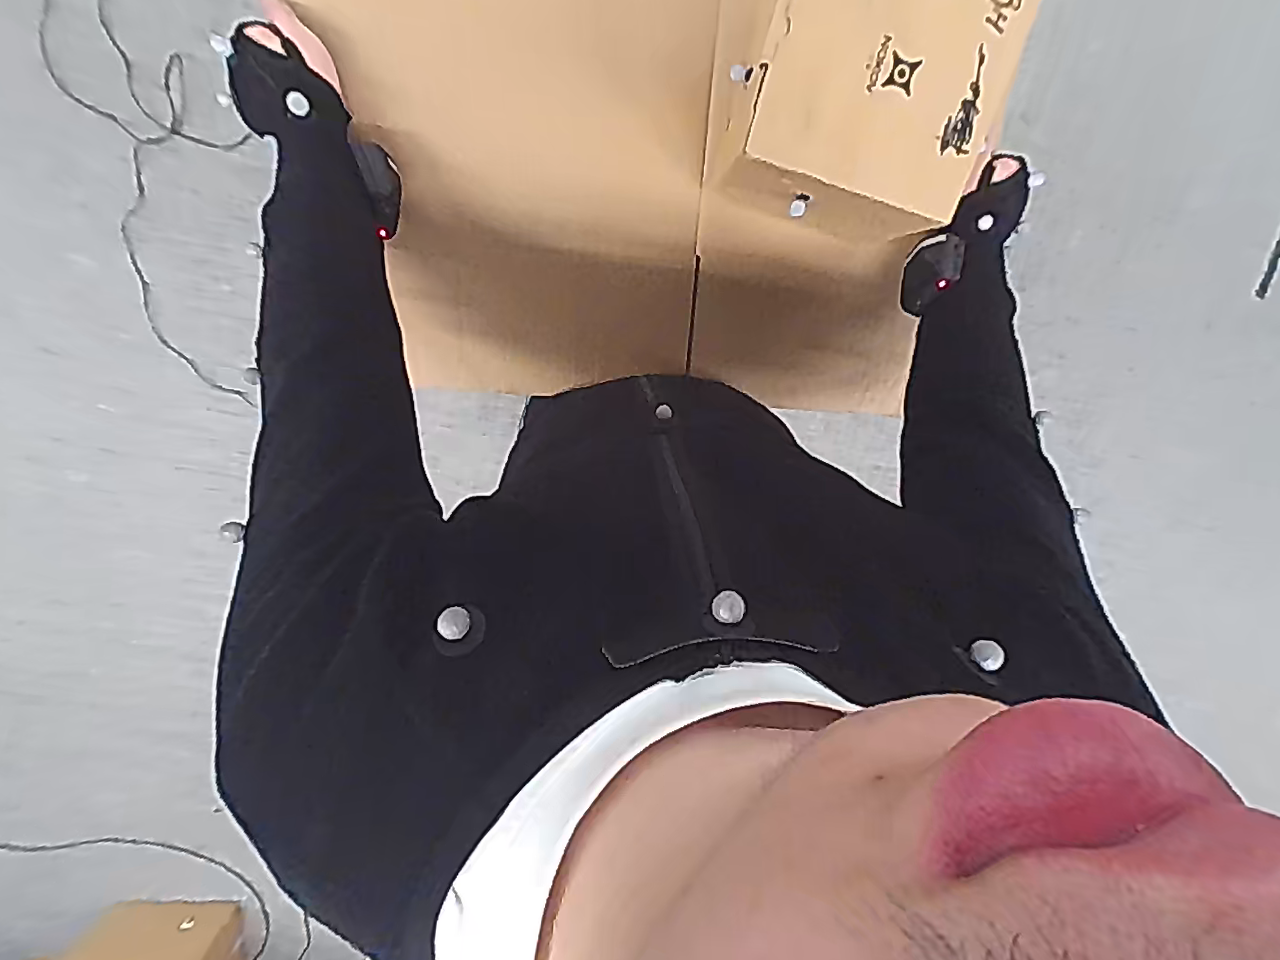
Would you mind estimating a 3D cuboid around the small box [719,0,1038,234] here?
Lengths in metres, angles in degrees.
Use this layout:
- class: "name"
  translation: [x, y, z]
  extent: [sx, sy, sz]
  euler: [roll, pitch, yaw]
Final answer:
- class: "small box"
  translation: [0.181, -0.329, 0.471]
  extent: [0.179, 0.176, 0.168]
  euler: [15, 107, -6]
